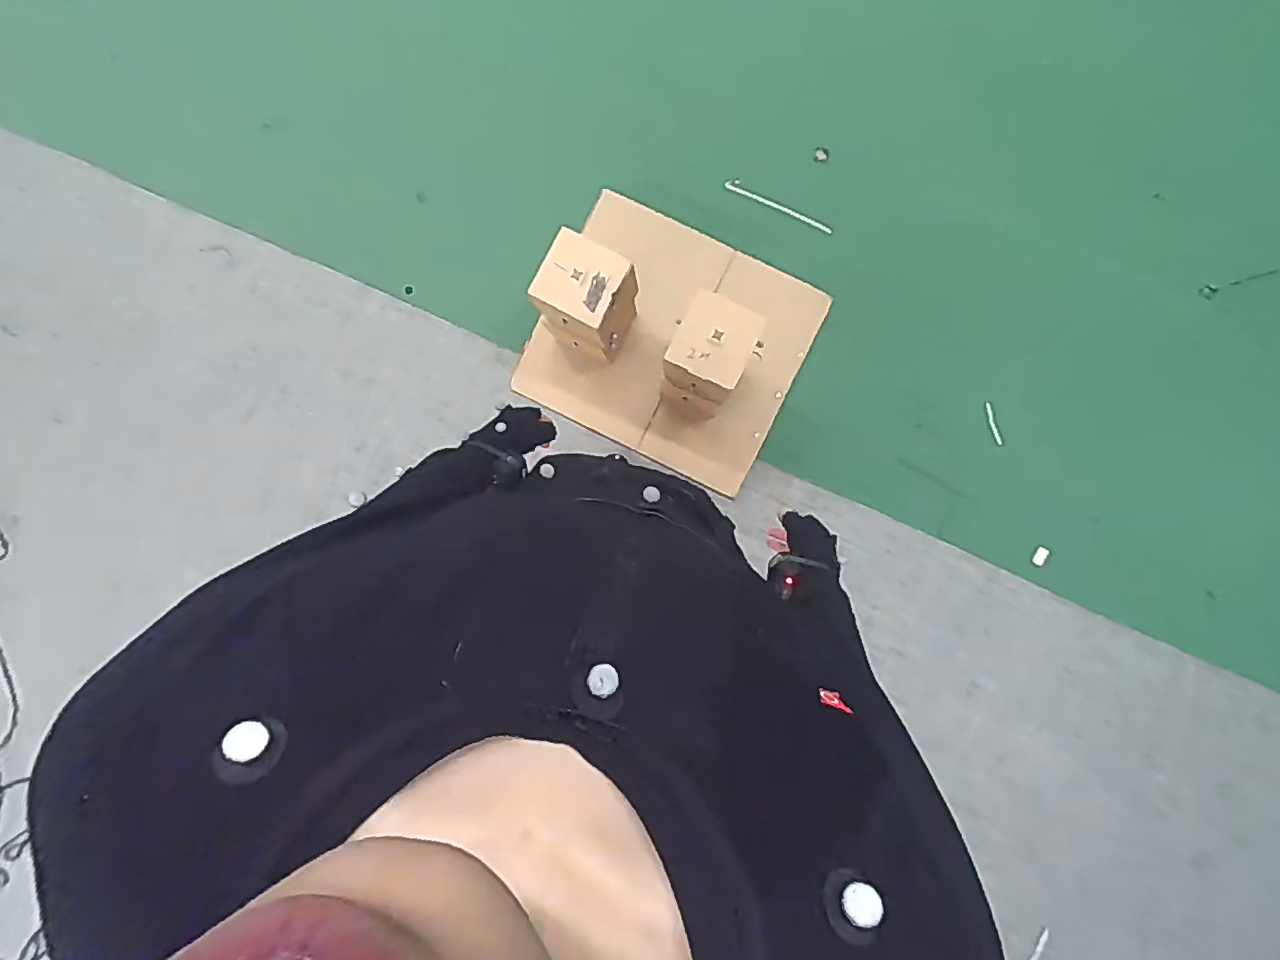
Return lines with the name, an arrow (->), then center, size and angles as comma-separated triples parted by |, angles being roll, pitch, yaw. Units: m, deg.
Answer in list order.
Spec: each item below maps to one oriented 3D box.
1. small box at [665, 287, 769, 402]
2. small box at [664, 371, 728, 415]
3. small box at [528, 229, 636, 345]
small box -> 0.164, -0.295, 1.214 | 0.168, 0.176, 0.179 | 27, 91, 3
small box -> 0.165, -0.283, 1.380 | 0.168, 0.176, 0.179 | 24, 91, 2
small box -> -0.121, -0.425, 1.225 | 0.179, 0.176, 0.168 | 29, 91, 4
